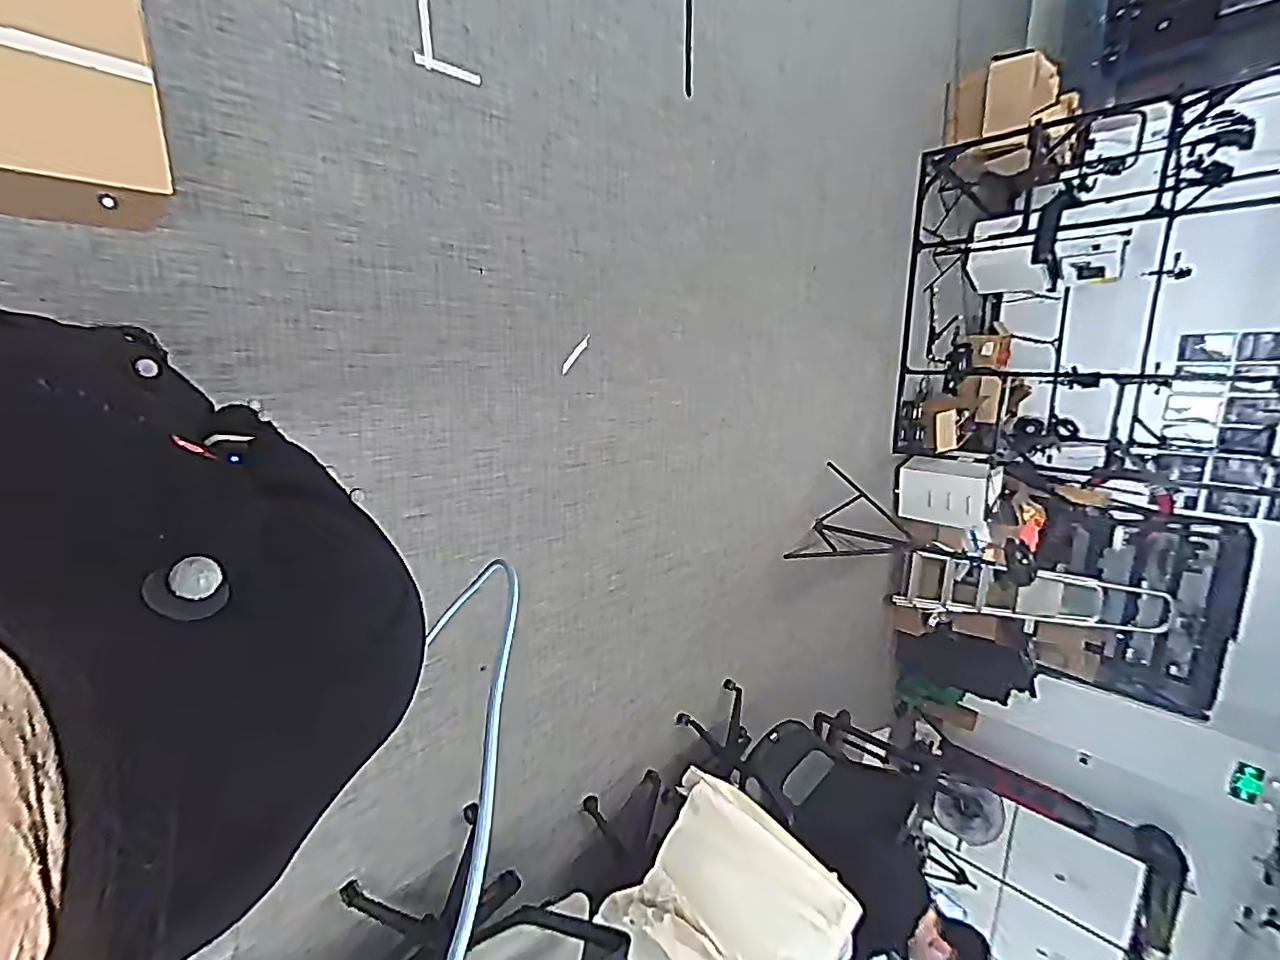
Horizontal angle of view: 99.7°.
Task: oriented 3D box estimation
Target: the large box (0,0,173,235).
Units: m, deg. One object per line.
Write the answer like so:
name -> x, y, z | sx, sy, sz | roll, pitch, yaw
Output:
large box -> -0.947, -0.546, 0.740 | 0.408, 0.320, 0.320 | -13, 107, -45
